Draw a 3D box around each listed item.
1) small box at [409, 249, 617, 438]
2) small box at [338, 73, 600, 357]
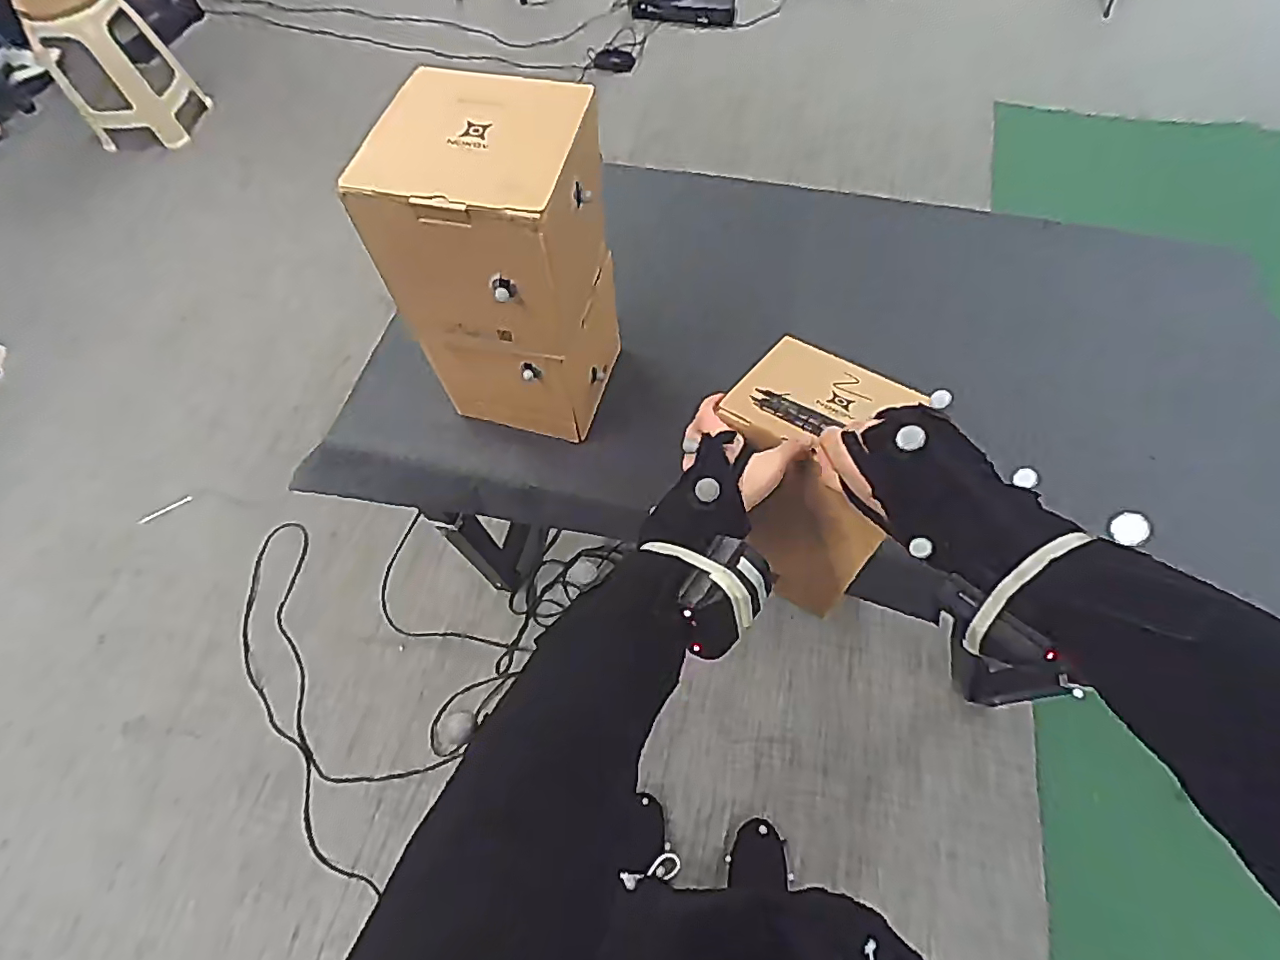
[{"bbox_3d":[-0.137,-0.172,0.659,0.179,0.176,0.168,14,63,8],"label":"small box"},{"bbox_3d":[-0.136,-0.241,0.512,0.168,0.176,0.179,10,62,4],"label":"small box"}]
